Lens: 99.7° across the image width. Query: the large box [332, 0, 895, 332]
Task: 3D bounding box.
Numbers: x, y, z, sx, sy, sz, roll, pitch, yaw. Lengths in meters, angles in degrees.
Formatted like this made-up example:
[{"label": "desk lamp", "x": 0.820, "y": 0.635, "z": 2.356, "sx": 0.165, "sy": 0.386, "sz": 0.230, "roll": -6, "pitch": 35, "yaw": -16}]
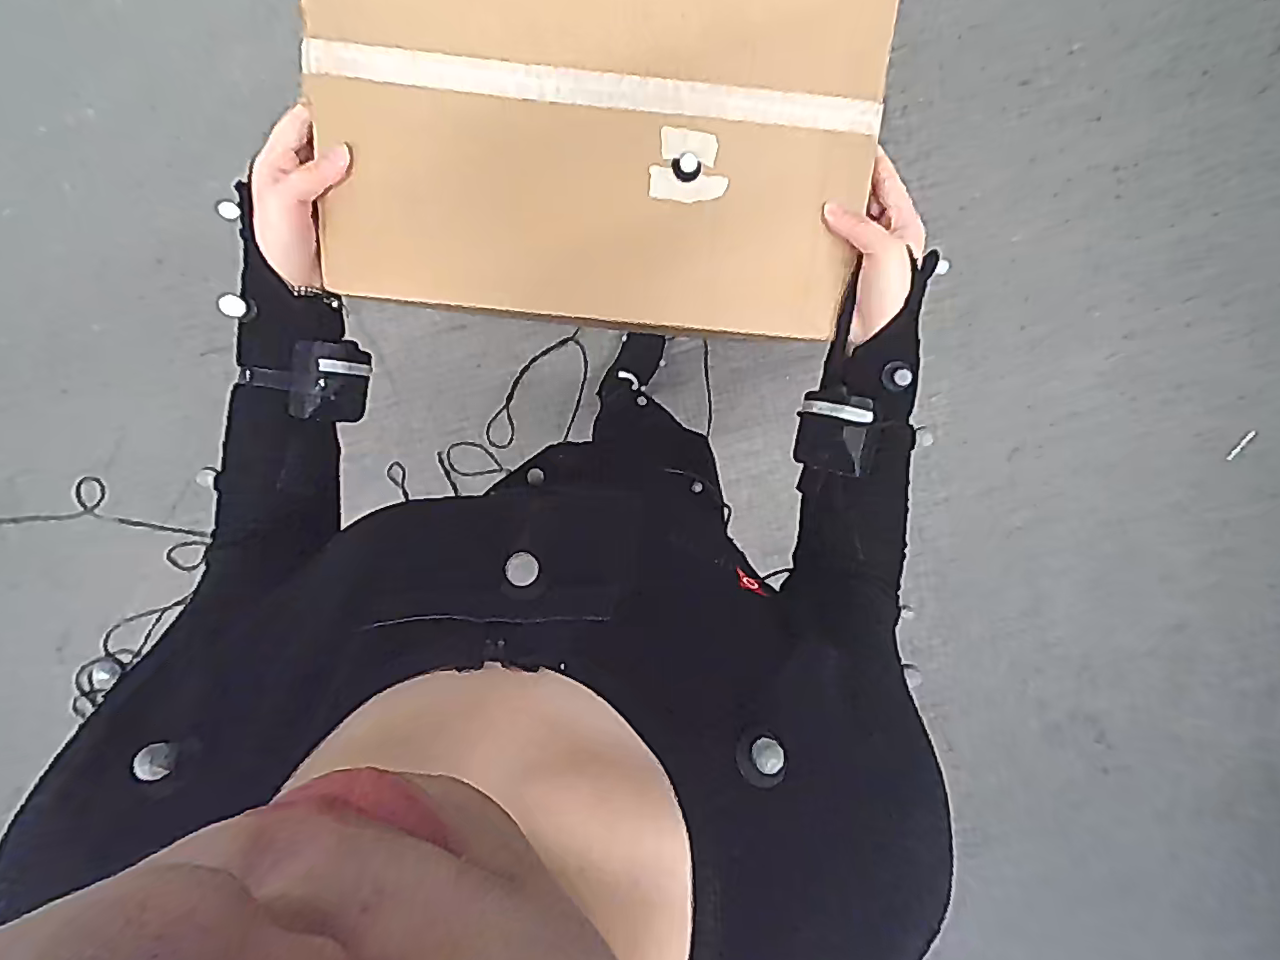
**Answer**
[{"label": "large box", "x": -0.028, "y": -0.324, "z": 0.539, "sx": 0.408, "sy": 0.320, "sz": 0.320, "roll": 4, "pitch": 105, "yaw": -4}]
